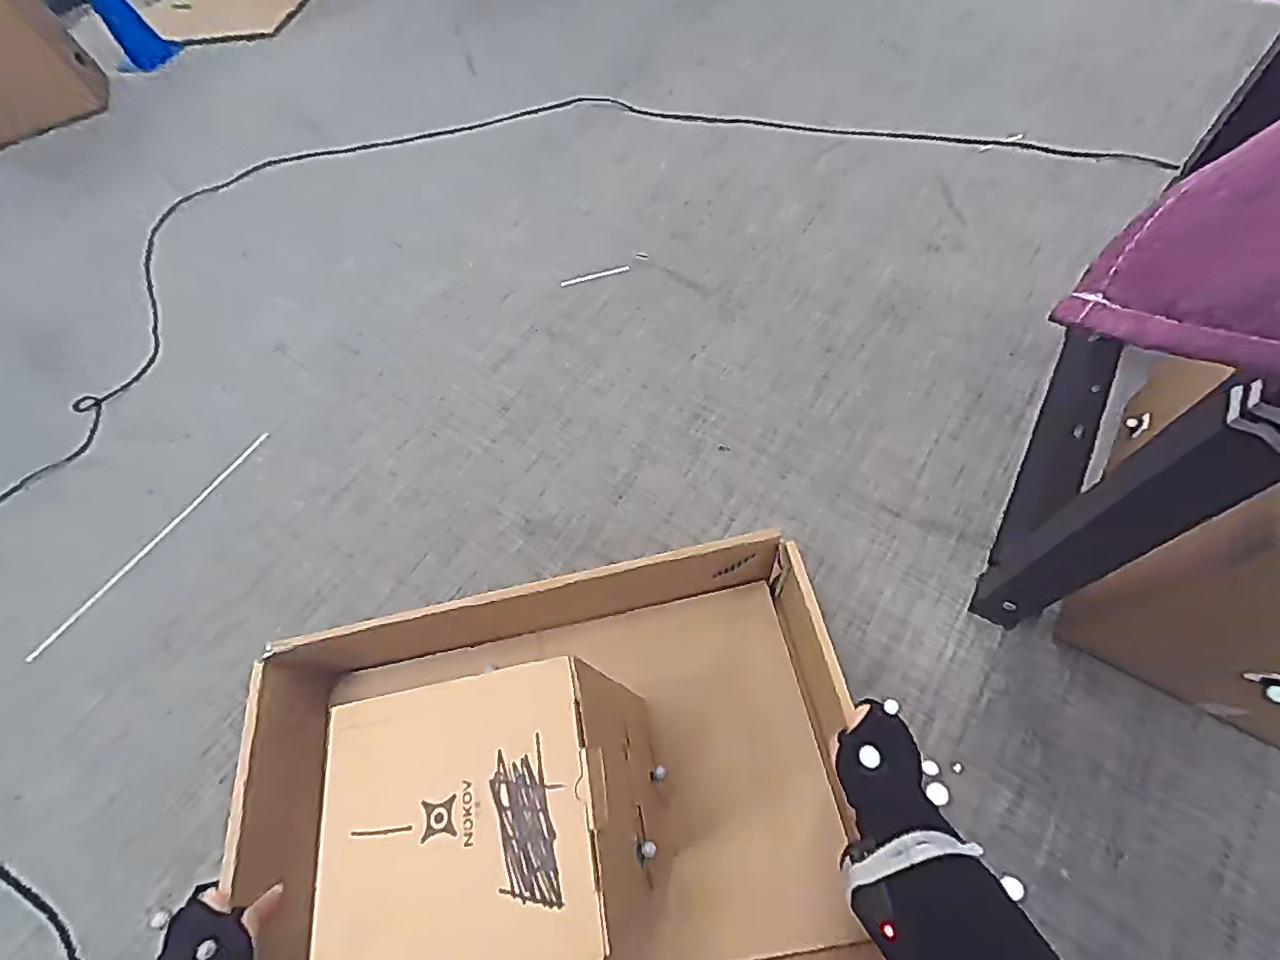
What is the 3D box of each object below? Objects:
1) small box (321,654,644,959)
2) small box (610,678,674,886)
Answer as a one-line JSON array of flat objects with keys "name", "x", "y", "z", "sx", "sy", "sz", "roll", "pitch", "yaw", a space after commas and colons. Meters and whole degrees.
[{"name": "small box", "x": -0.099, "y": 0.241, "z": 0.408, "sx": 0.179, "sy": 0.176, "sz": 0.168, "roll": -14, "pitch": 62, "yaw": 4}, {"name": "small box", "x": -0.072, "y": 0.314, "z": 0.553, "sx": 0.179, "sy": 0.176, "sz": 0.168, "roll": -14, "pitch": 62, "yaw": 3}]
